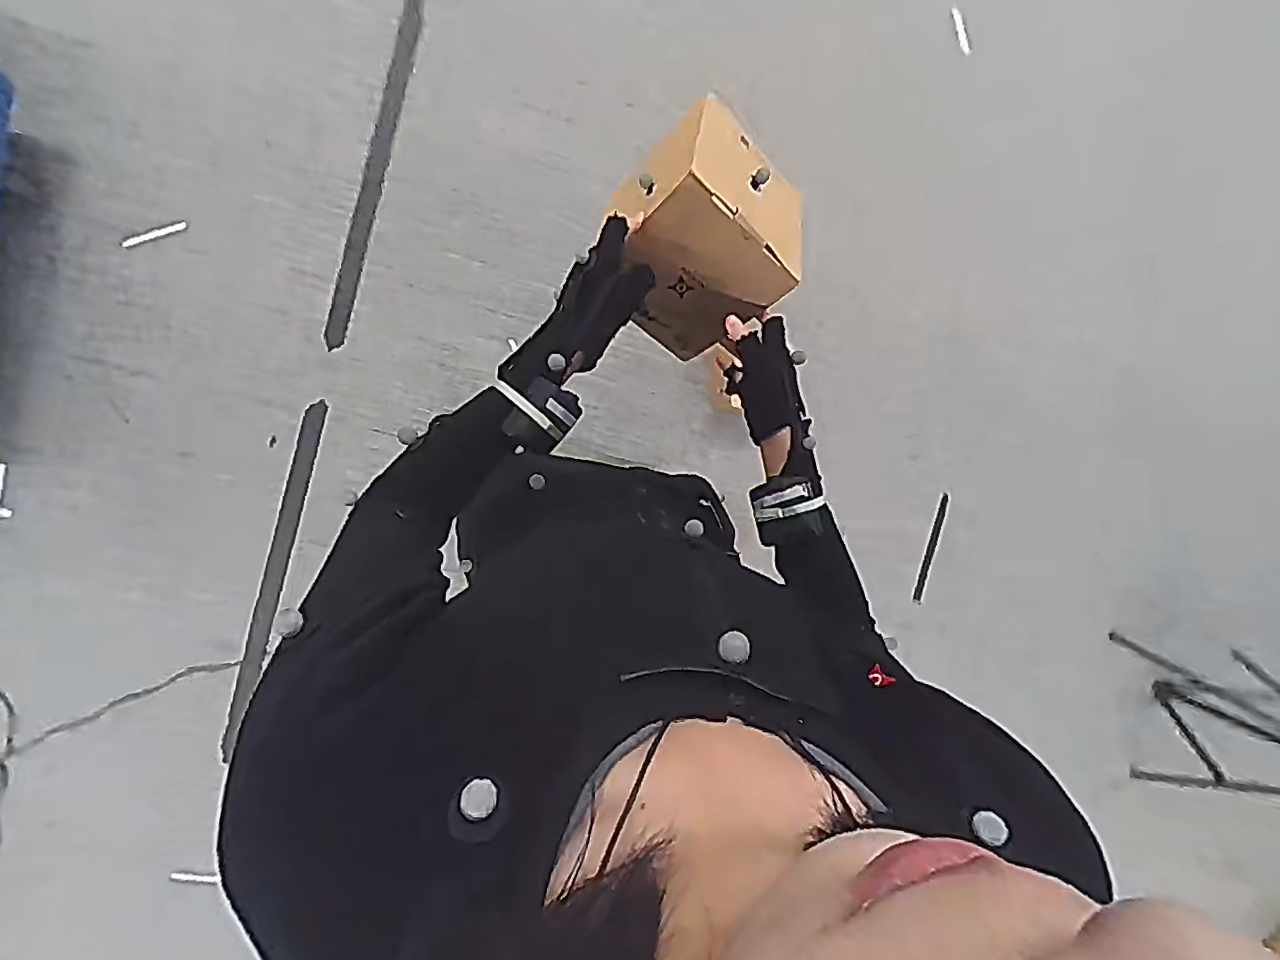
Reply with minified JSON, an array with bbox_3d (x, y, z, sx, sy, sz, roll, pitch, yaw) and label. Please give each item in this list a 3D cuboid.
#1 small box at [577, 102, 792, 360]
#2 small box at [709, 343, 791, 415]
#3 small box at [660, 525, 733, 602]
[{"bbox_3d":[0.053,-0.282,0.626,0.168,0.179,0.176,31,51,-28],"label":"small box"},{"bbox_3d":[0.295,-0.271,1.486,0.168,0.176,0.179,1,95,-12],"label":"small box"},{"bbox_3d":[0.153,0.226,1.513,0.168,0.176,0.179,-4,97,-11],"label":"small box"}]
